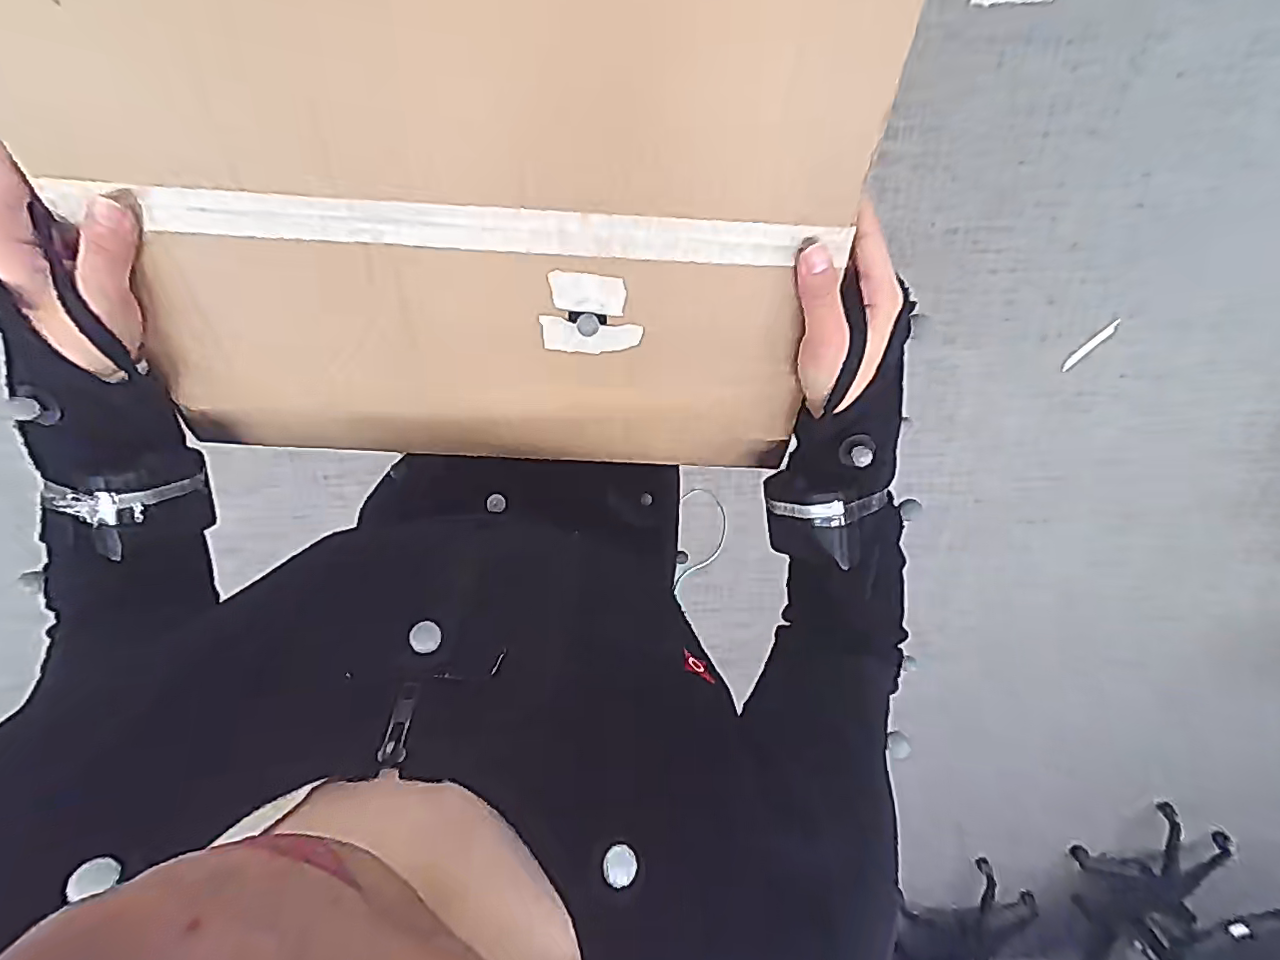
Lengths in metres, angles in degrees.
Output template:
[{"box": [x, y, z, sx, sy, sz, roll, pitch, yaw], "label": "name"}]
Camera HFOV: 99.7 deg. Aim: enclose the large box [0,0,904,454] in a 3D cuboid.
[{"box": [-0.095, -0.234, 0.399, 0.408, 0.320, 0.320, 1, 134, -4], "label": "large box"}]
